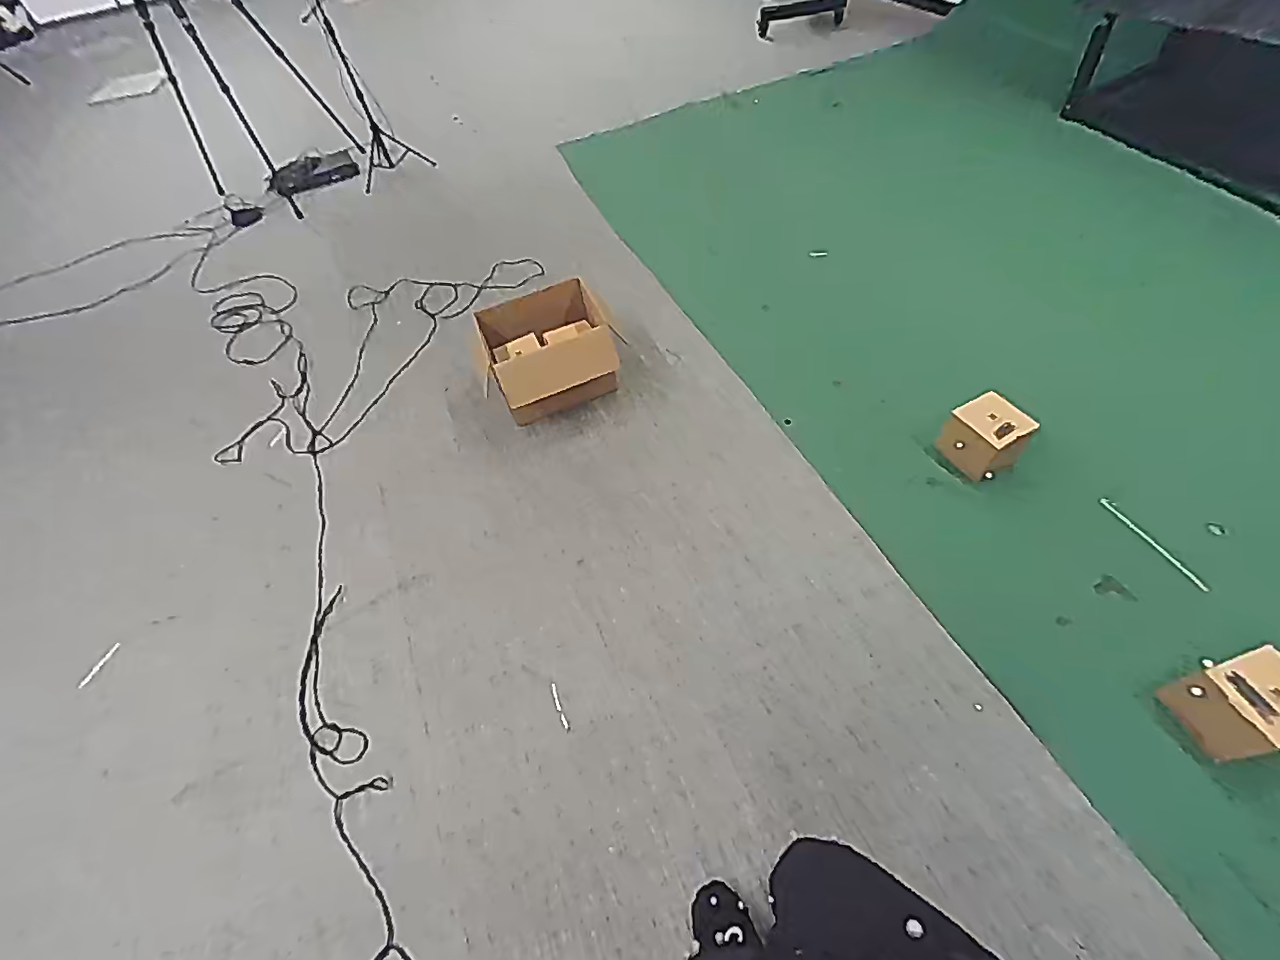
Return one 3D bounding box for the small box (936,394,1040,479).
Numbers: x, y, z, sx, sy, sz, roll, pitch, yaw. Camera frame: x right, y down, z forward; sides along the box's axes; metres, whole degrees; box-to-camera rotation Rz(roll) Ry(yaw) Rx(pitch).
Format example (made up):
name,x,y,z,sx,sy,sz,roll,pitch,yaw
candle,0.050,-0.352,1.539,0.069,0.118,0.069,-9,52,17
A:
name,x,y,z,sx,sy,sz,roll,pitch,yaw
small box,1.049,-0.124,1.647,0.168,0.176,0.179,-25,54,-11
